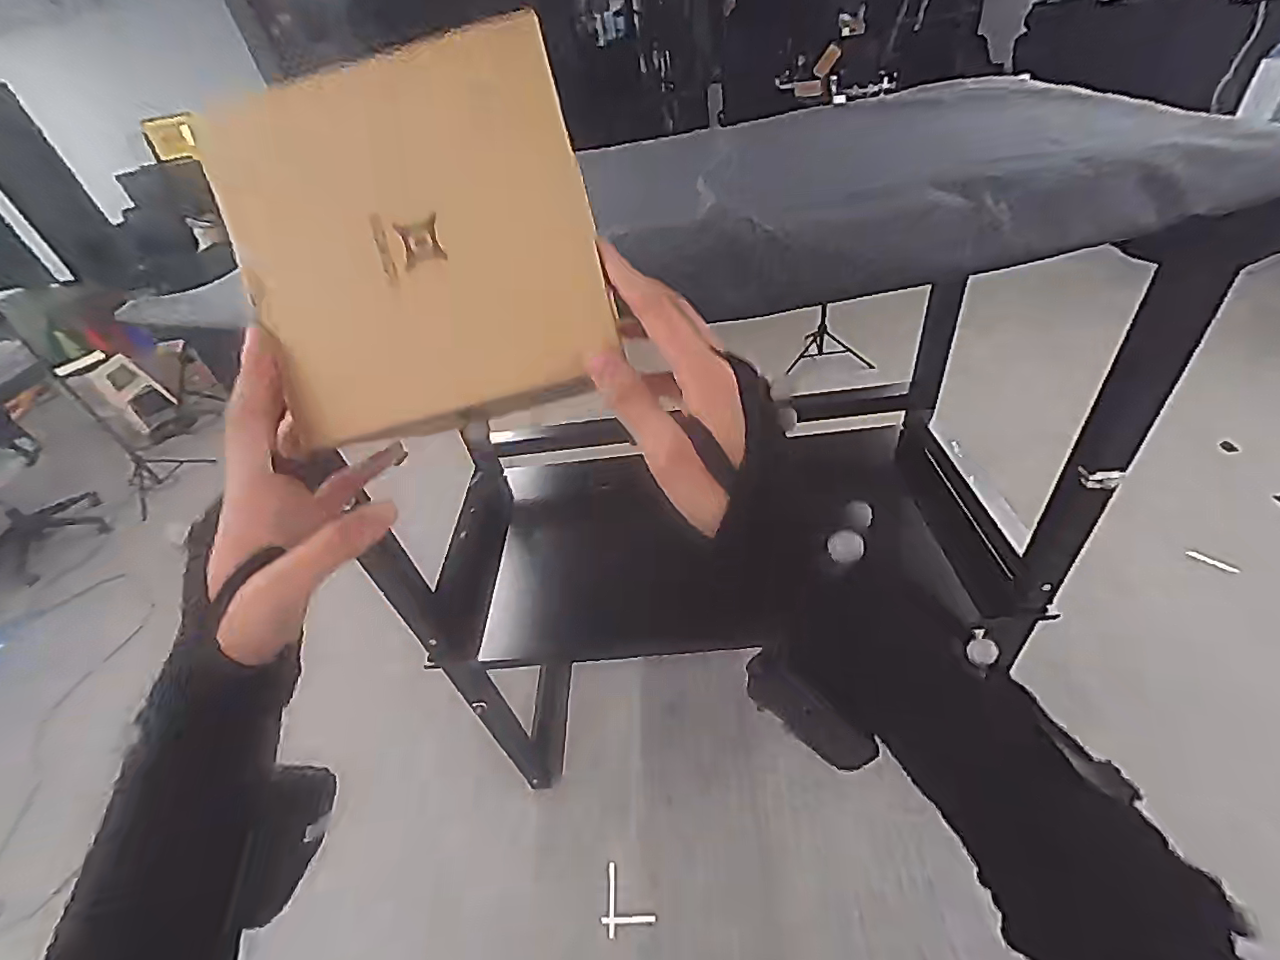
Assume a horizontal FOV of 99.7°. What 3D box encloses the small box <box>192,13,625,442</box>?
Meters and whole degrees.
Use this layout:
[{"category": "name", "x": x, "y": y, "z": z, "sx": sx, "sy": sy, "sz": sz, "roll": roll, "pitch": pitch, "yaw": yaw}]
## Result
[{"category": "small box", "x": -0.110, "y": -0.129, "z": 0.343, "sx": 0.179, "sy": 0.168, "sz": 0.176, "roll": -14, "pitch": 8, "yaw": 4}]
